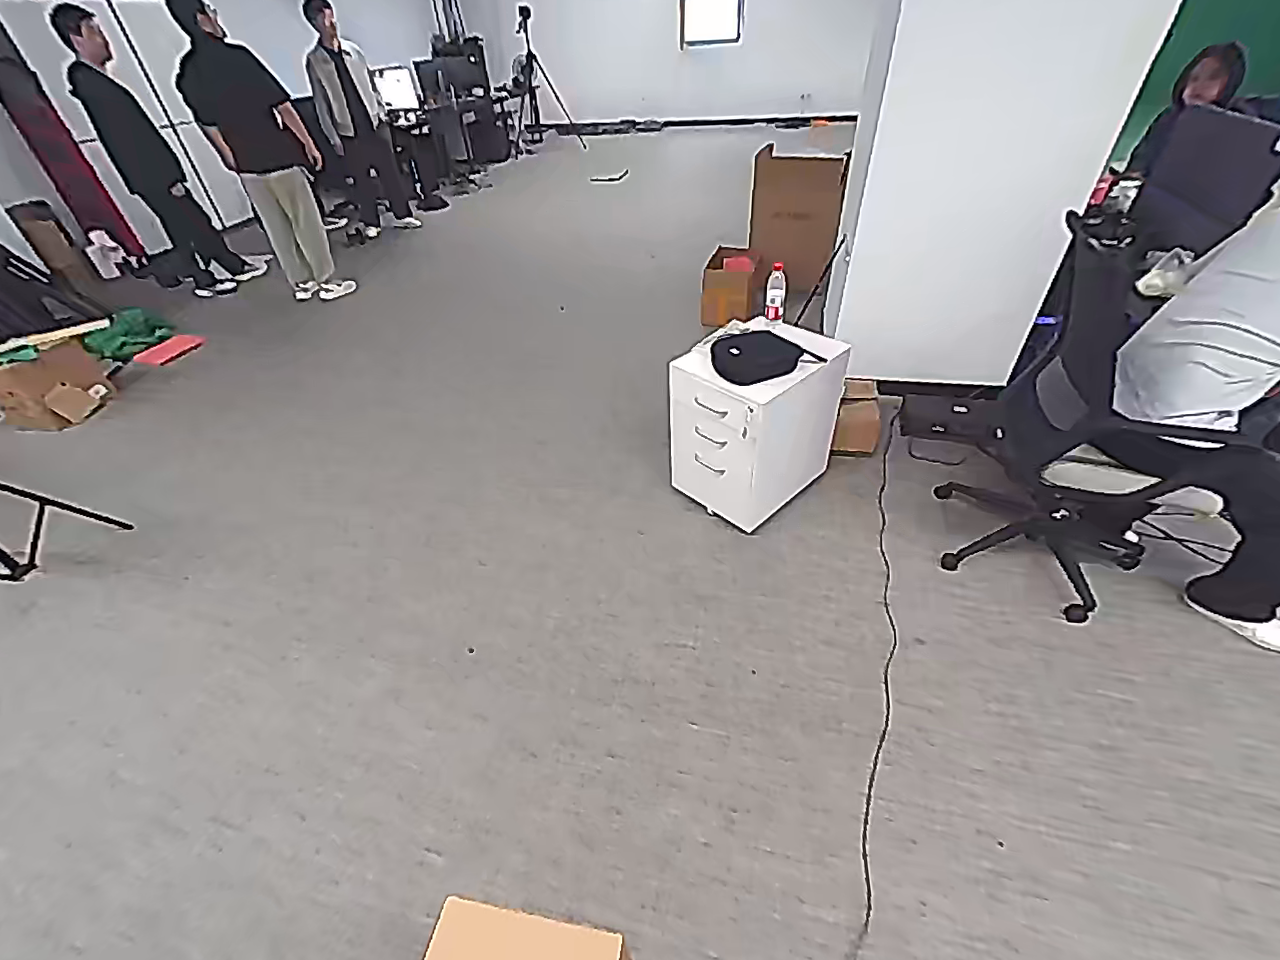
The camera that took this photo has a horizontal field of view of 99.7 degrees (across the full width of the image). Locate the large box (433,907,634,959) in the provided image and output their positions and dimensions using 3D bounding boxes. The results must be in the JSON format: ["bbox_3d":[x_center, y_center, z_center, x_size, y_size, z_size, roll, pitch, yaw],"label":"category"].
[{"bbox_3d":[-0.187,0.974,0.916,0.320,0.408,0.320,6,43,10],"label":"large box"}]
